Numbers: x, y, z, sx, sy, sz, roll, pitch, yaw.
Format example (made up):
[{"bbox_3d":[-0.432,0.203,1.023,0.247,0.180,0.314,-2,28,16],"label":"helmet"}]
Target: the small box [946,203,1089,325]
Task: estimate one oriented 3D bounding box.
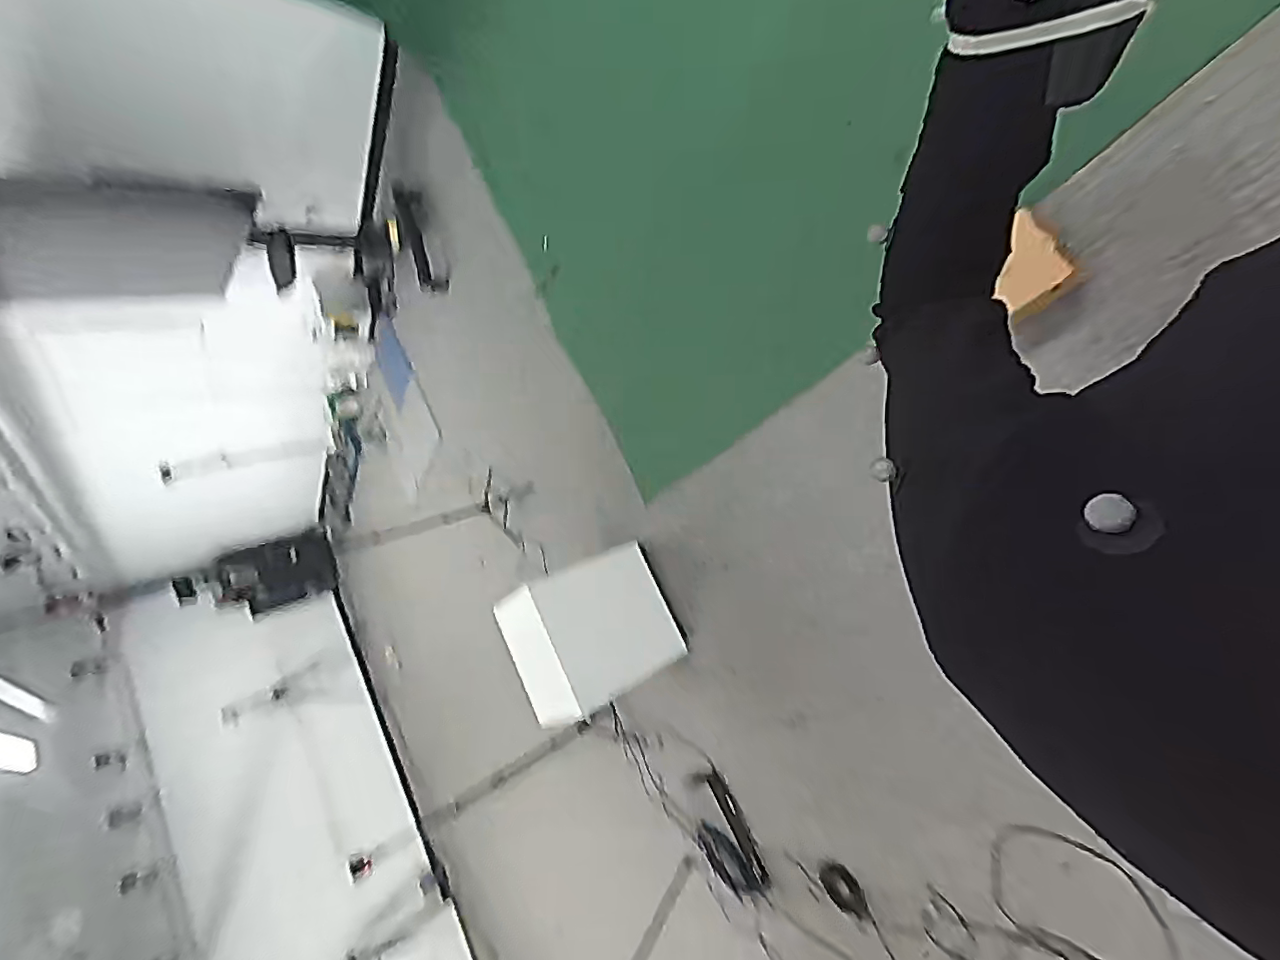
[{"bbox_3d":[0.804,-0.451,1.152,0.179,0.176,0.168,-41,72,46],"label":"small box"}]
